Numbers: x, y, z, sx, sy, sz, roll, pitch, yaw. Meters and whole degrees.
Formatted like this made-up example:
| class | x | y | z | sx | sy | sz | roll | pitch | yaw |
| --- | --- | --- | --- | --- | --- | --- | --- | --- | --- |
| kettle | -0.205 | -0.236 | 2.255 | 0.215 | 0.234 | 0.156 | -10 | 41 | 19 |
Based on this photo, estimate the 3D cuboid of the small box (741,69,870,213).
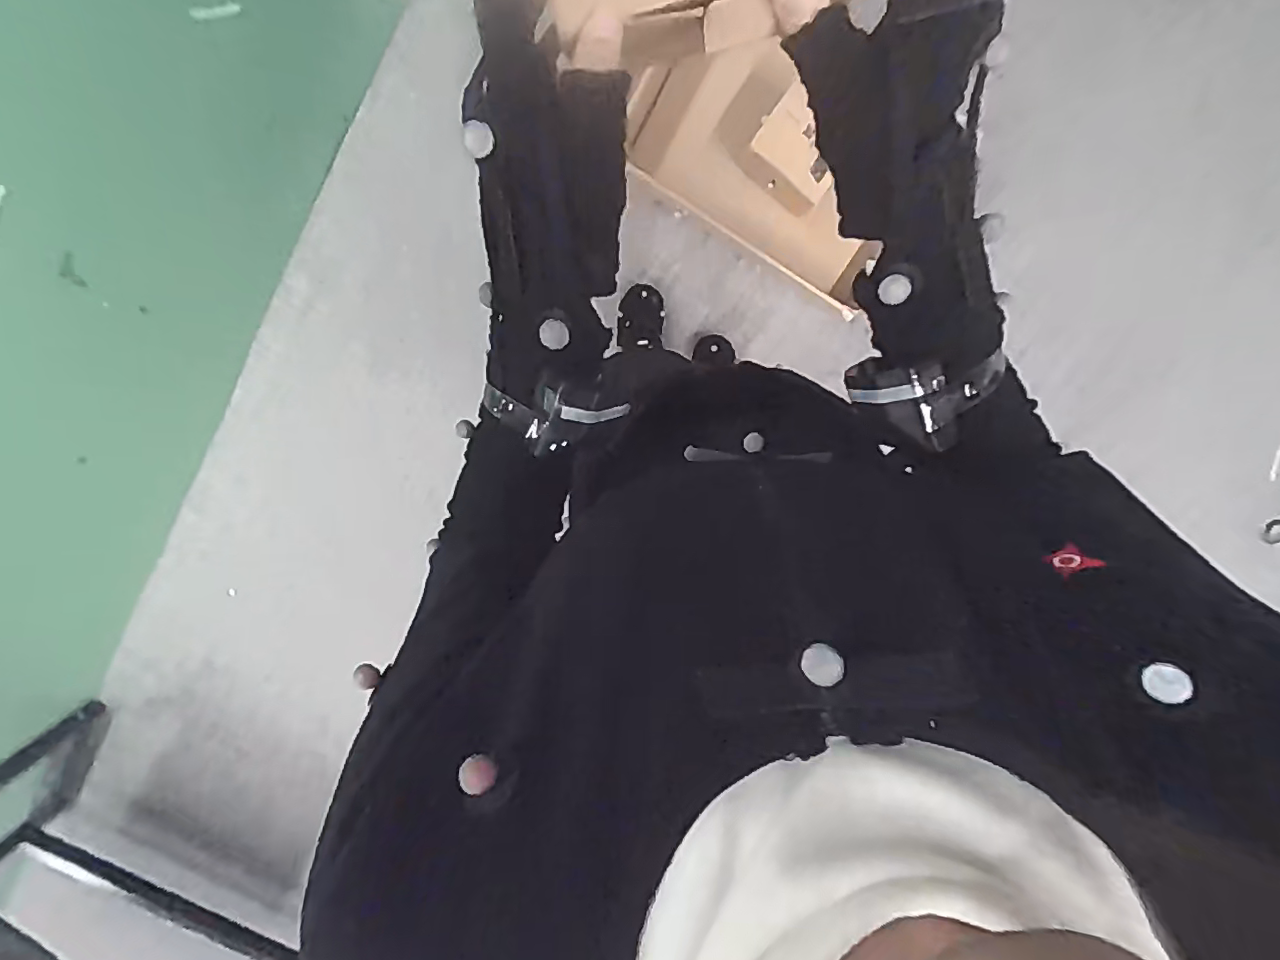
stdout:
| class | x | y | z | sx | sy | sz | roll | pitch | yaw |
| --- | --- | --- | --- | --- | --- | --- | --- | --- | --- |
| small box | 0.329 | -0.679 | 1.113 | 0.179 | 0.176 | 0.168 | 38 | 105 | -7 |

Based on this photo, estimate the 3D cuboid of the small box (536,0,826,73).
| class | x | y | z | sx | sy | sz | roll | pitch | yaw |
| --- | --- | --- | --- | --- | --- | --- | --- | --- | --- |
| small box | 0.018 | -0.316 | 0.251 | 0.168 | 0.176 | 0.179 | -13 | 120 | 5 |
